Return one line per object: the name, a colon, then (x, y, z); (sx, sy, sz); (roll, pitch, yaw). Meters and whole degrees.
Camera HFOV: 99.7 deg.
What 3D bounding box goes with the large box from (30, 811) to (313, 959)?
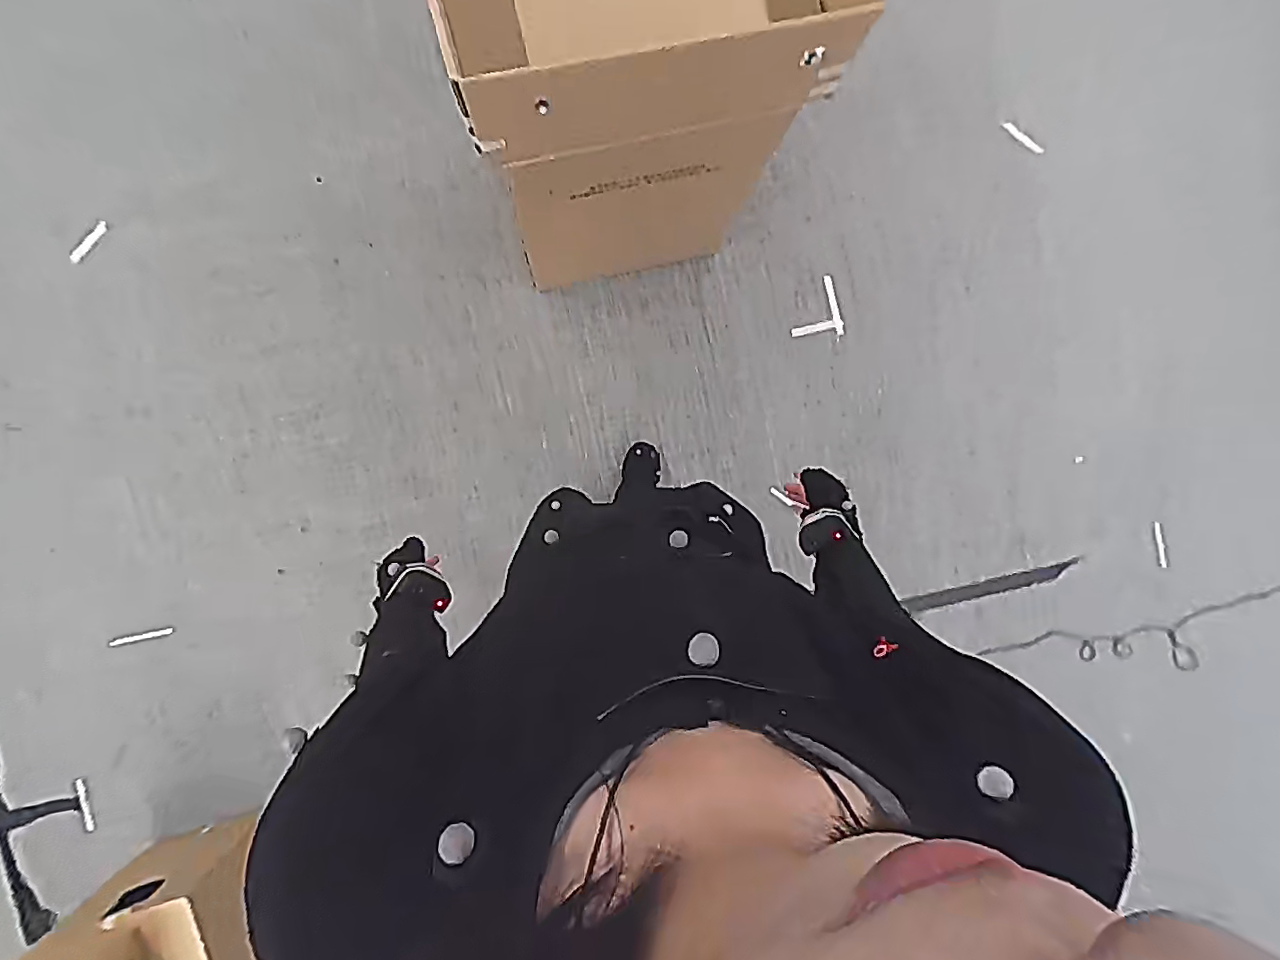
large box: (-1.047, 1.094, 1.261); (0.320, 0.320, 0.408); (-17, 91, -7)
